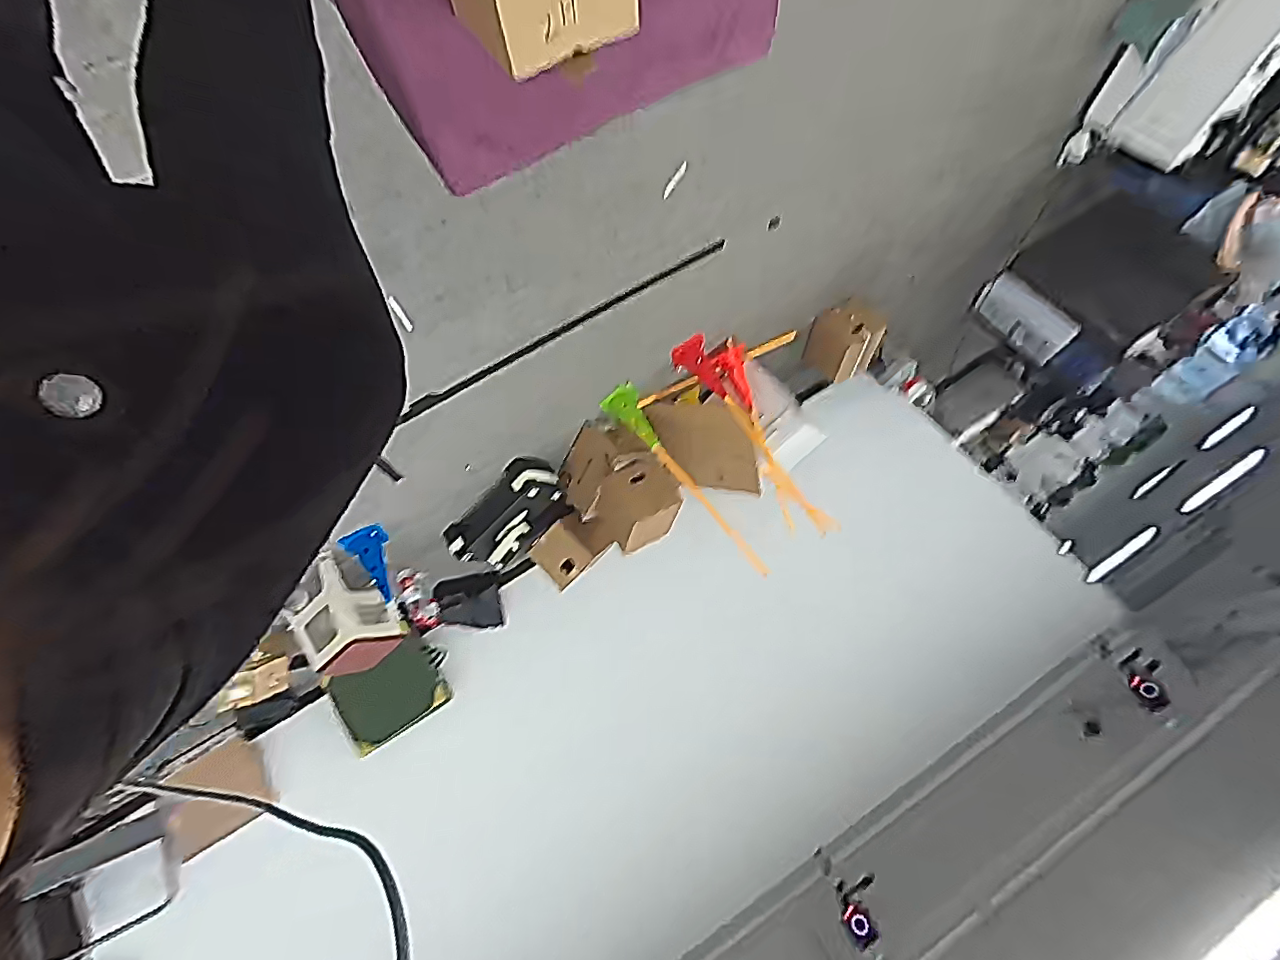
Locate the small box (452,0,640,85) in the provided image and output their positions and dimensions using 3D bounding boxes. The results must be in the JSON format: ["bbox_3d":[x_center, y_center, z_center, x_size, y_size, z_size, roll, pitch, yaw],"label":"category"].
[{"bbox_3d":[-0.116,-0.573,0.570,0.168,0.176,0.179,-30,156,-11],"label":"small box"}]
